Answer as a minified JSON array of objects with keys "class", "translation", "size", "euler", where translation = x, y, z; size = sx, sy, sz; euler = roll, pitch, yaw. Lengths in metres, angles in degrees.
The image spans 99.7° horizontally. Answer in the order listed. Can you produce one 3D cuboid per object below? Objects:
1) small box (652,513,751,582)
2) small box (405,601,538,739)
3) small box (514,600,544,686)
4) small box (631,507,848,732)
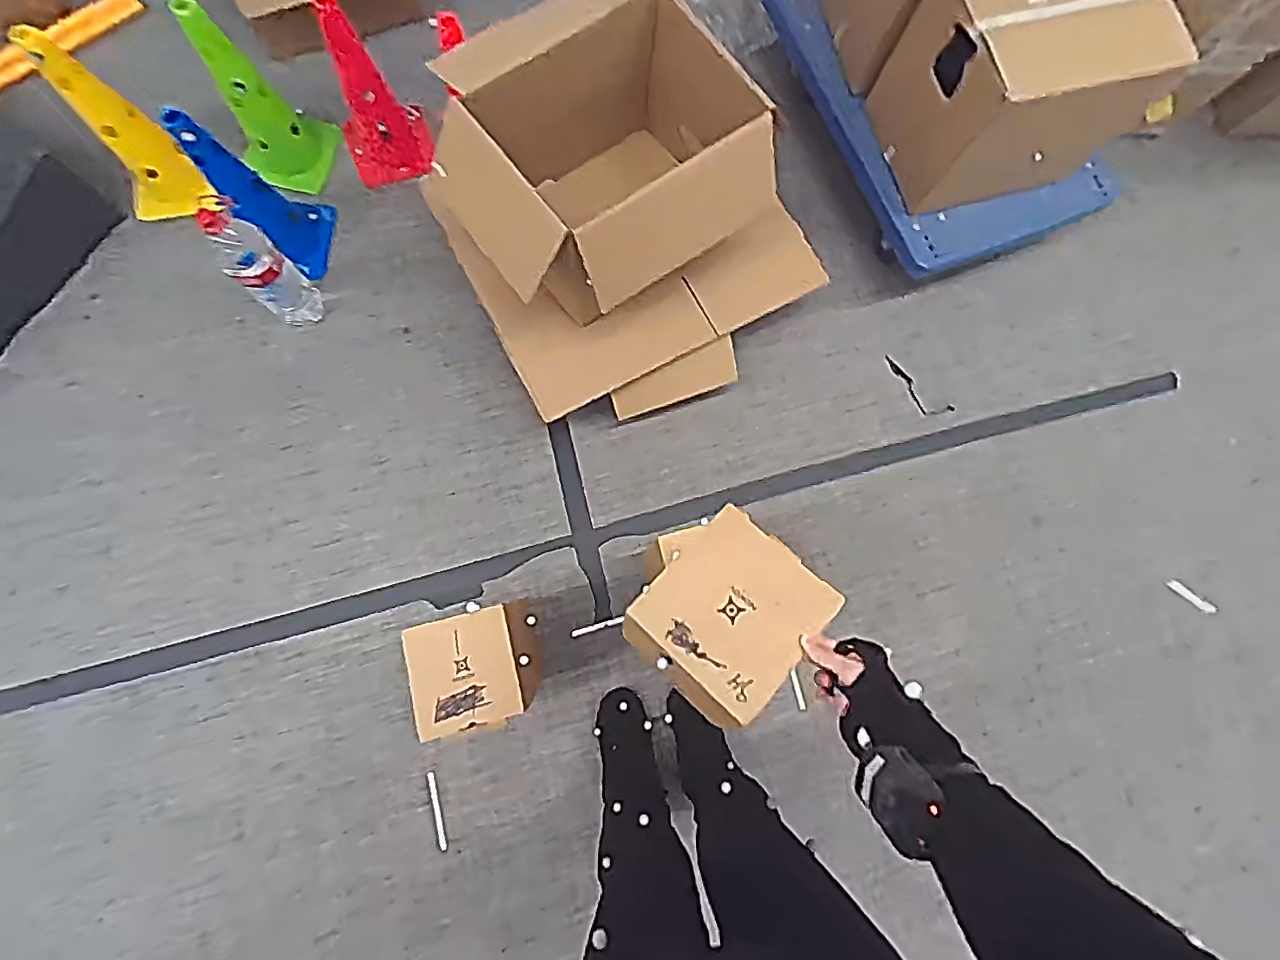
[{"class":"small box","translation":[0.126,0.172,0.988],"size":[0.168,0.176,0.179],"euler":[-14,82,-8]},{"class":"small box","translation":[-0.280,0.314,0.930],"size":[0.168,0.176,0.179],"euler":[-13,79,-7]},{"class":"small box","translation":[-0.298,0.345,1.091],"size":[0.179,0.176,0.168],"euler":[-16,81,-6]},{"class":"small box","translation":[0.101,0.167,0.638],"size":[0.168,0.176,0.179],"euler":[41,70,14]}]
